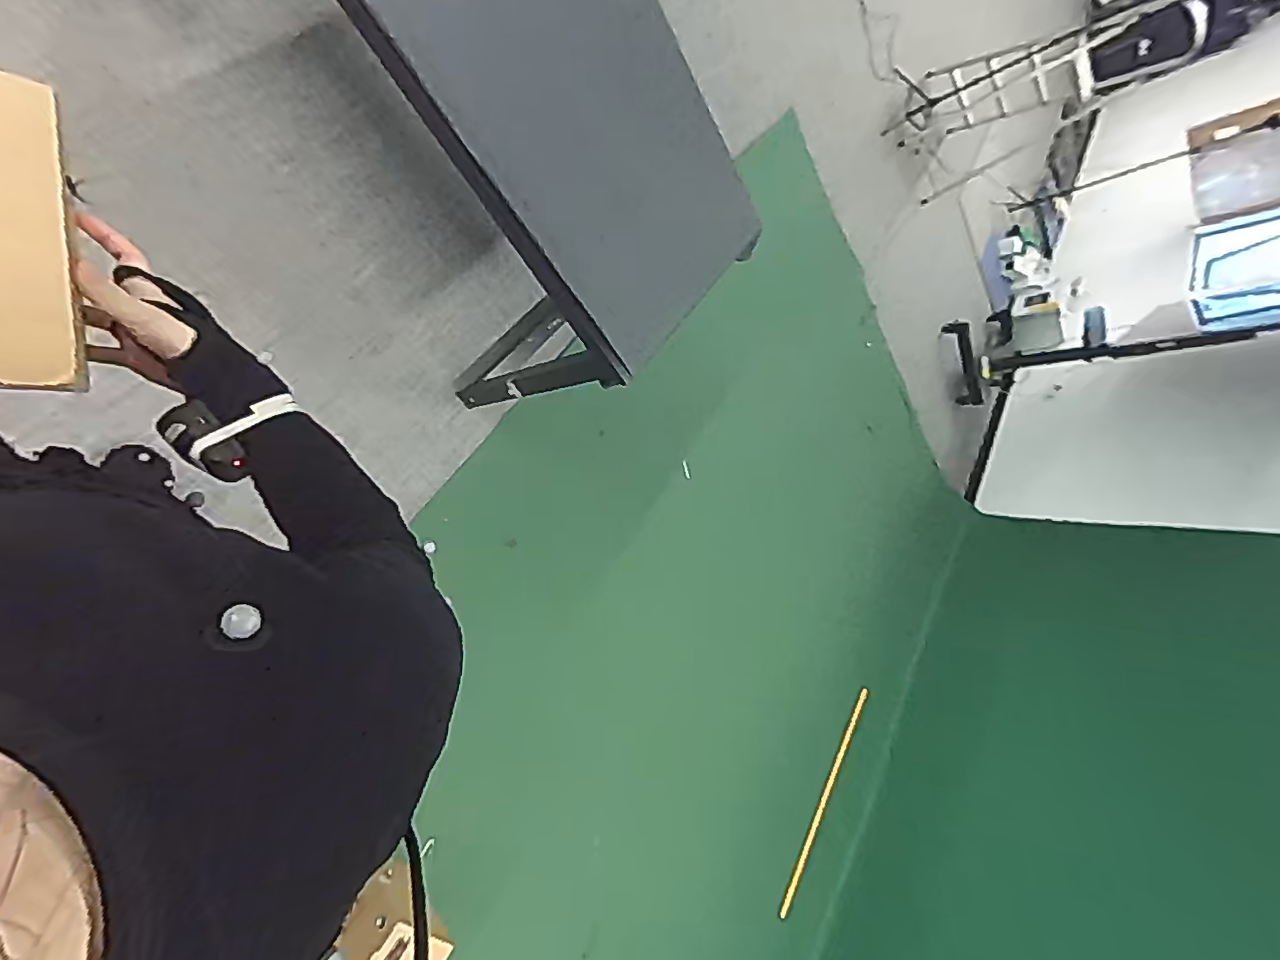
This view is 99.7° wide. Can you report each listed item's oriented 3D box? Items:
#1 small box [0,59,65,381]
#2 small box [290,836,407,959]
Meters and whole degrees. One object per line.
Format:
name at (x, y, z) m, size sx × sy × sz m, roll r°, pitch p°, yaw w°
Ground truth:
small box at (-0.465, -0.155, 0.318) m, size 0.168 × 0.176 × 0.179 m, roll -4°, pitch 100°, yaw -45°
small box at (-0.726, 1.032, 1.346) m, size 0.168 × 0.176 × 0.179 m, roll -52°, pitch 123°, yaw -27°
